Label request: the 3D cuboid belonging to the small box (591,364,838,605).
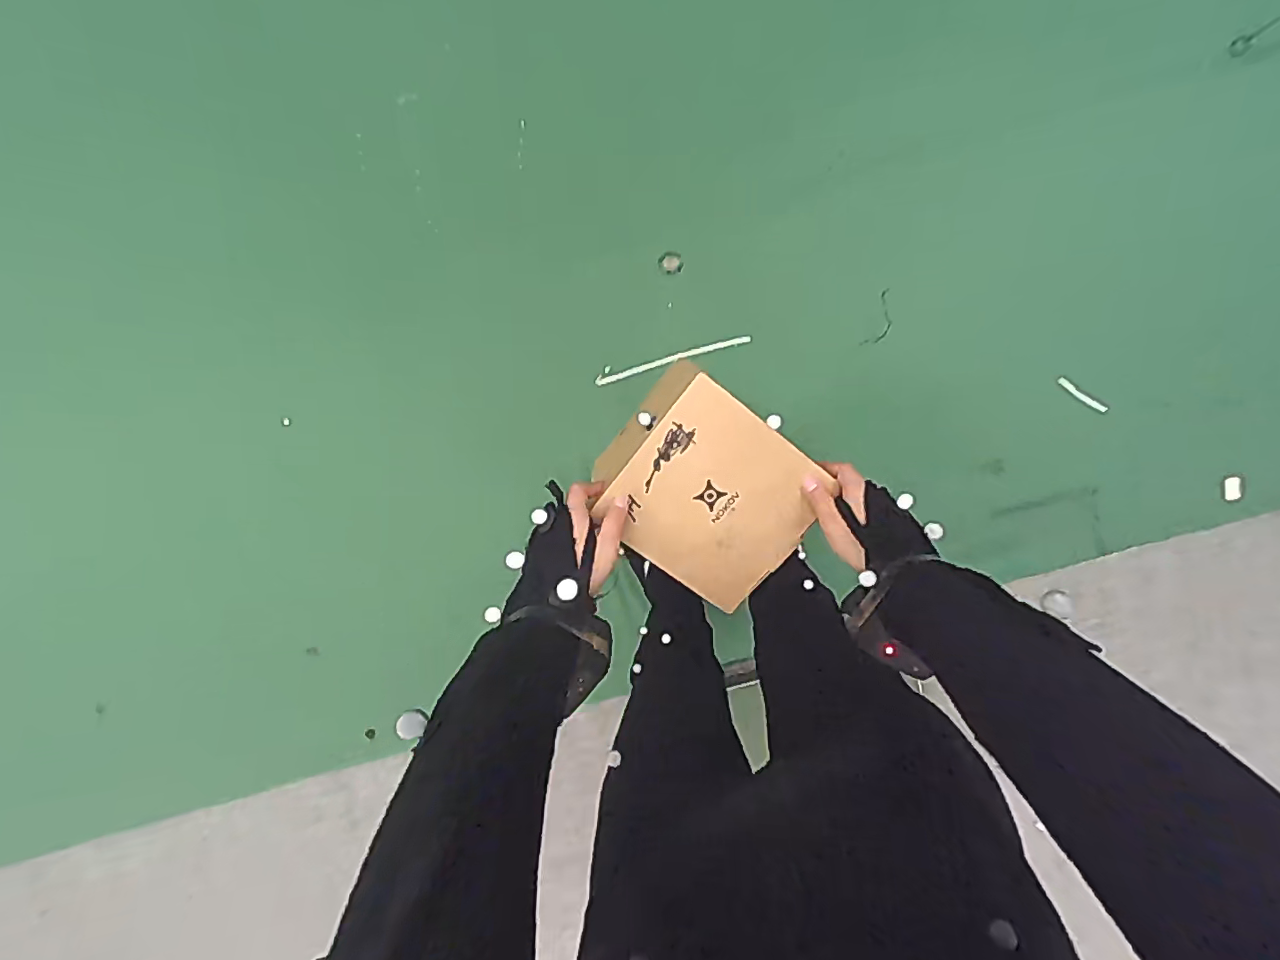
[{"bbox_3d":[0.067,-0.008,0.578,0.179,0.176,0.168,36,102,-12],"label":"small box"}]
